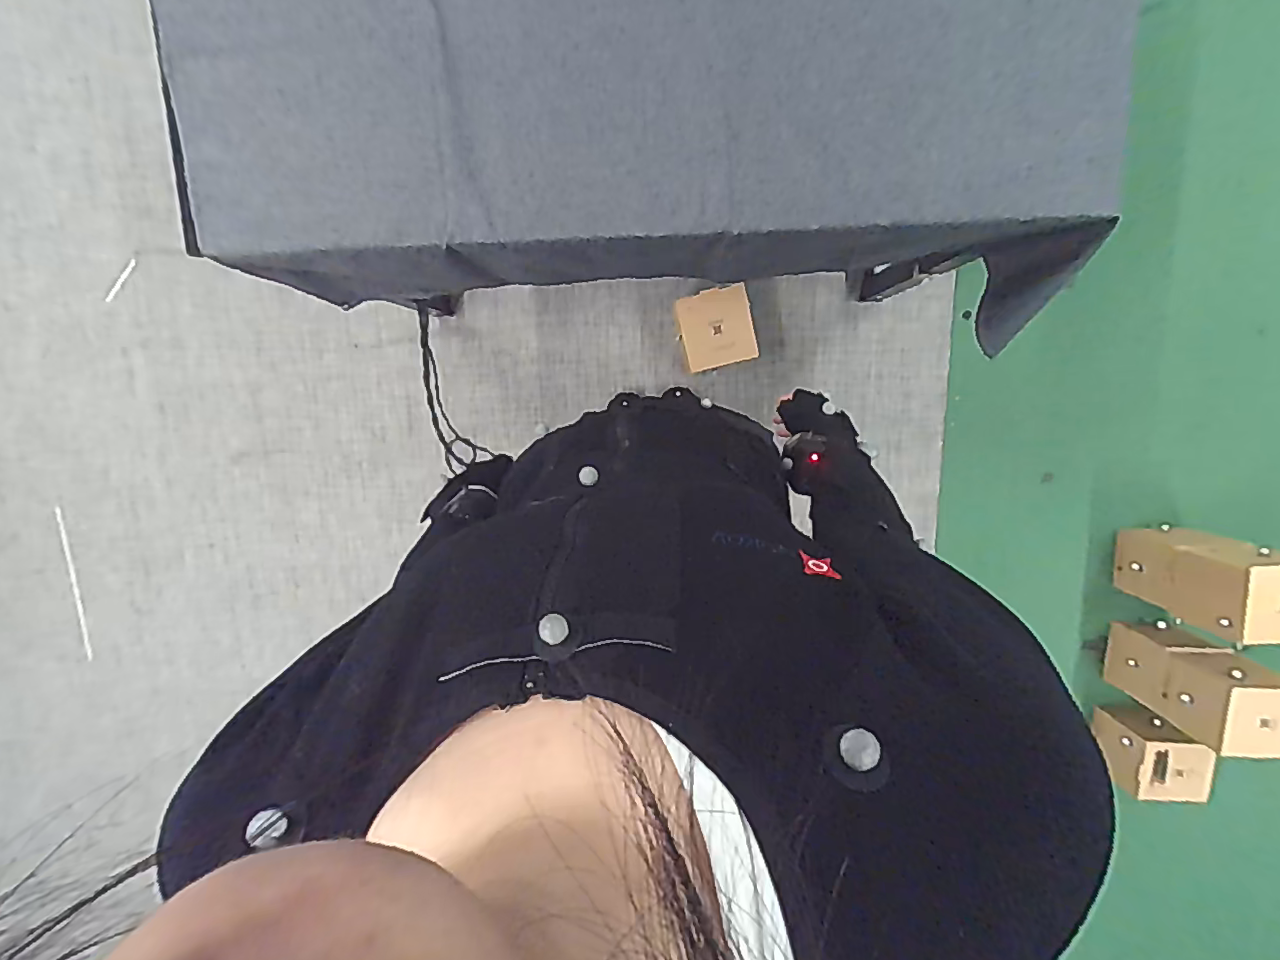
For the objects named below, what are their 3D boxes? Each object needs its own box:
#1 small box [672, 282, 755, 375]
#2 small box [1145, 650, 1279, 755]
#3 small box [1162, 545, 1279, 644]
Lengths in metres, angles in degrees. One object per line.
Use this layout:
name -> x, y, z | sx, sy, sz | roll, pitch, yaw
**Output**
small box -> 0.174, -0.366, 1.334 | 0.168, 0.176, 0.179 | -13, 98, 5
small box -> 1.348, 0.513, 1.266 | 0.179, 0.176, 0.168 | 0, 100, 2
small box -> 1.342, 0.250, 1.223 | 0.168, 0.176, 0.179 | -3, 100, 3
